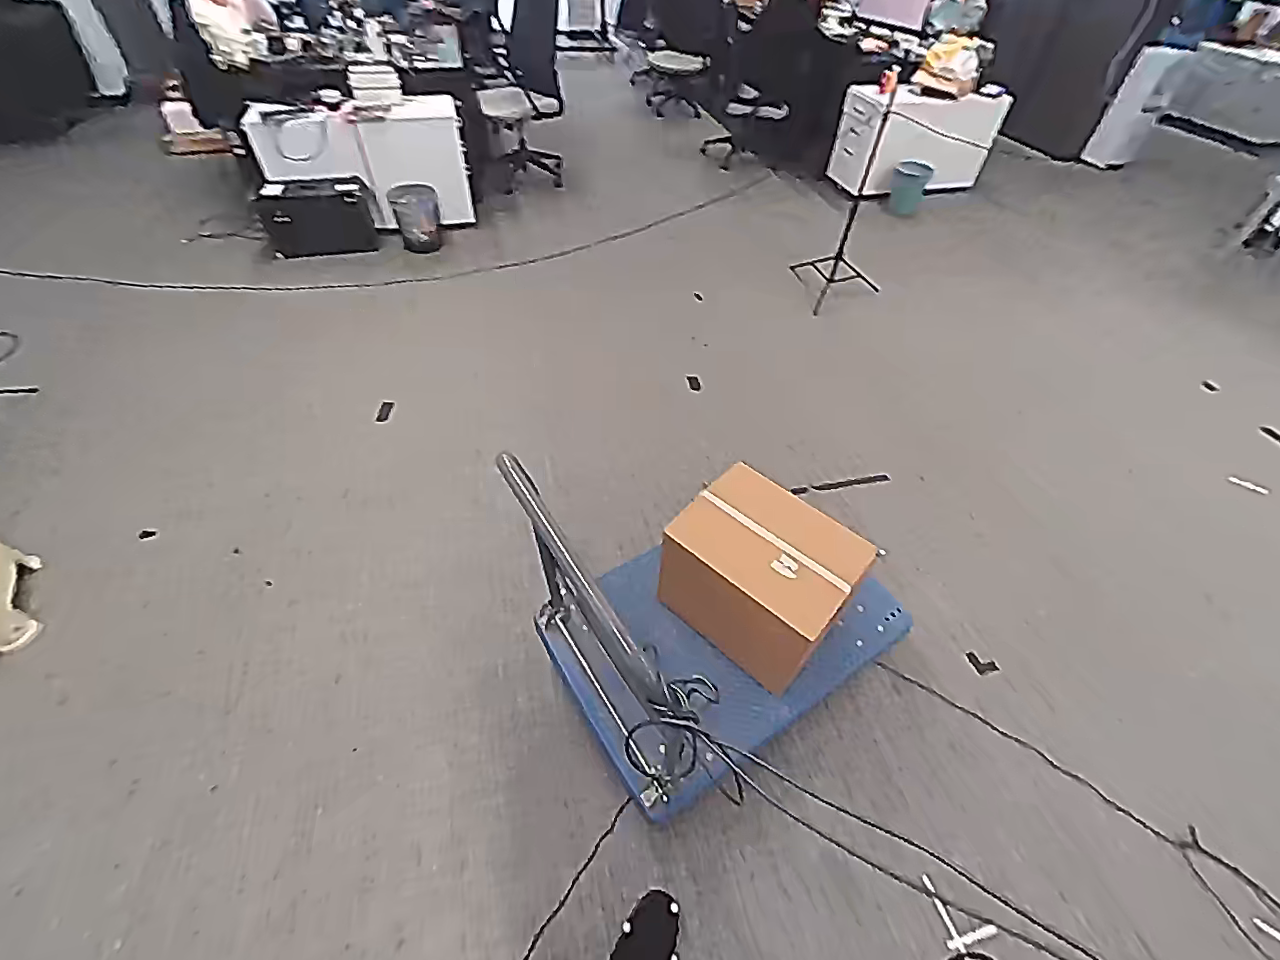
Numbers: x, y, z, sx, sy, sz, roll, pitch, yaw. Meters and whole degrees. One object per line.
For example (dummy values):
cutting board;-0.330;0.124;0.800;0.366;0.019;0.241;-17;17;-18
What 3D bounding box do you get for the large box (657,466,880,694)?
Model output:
large box;0.296;0.242;1.355;0.408;0.320;0.320;36;56;25
